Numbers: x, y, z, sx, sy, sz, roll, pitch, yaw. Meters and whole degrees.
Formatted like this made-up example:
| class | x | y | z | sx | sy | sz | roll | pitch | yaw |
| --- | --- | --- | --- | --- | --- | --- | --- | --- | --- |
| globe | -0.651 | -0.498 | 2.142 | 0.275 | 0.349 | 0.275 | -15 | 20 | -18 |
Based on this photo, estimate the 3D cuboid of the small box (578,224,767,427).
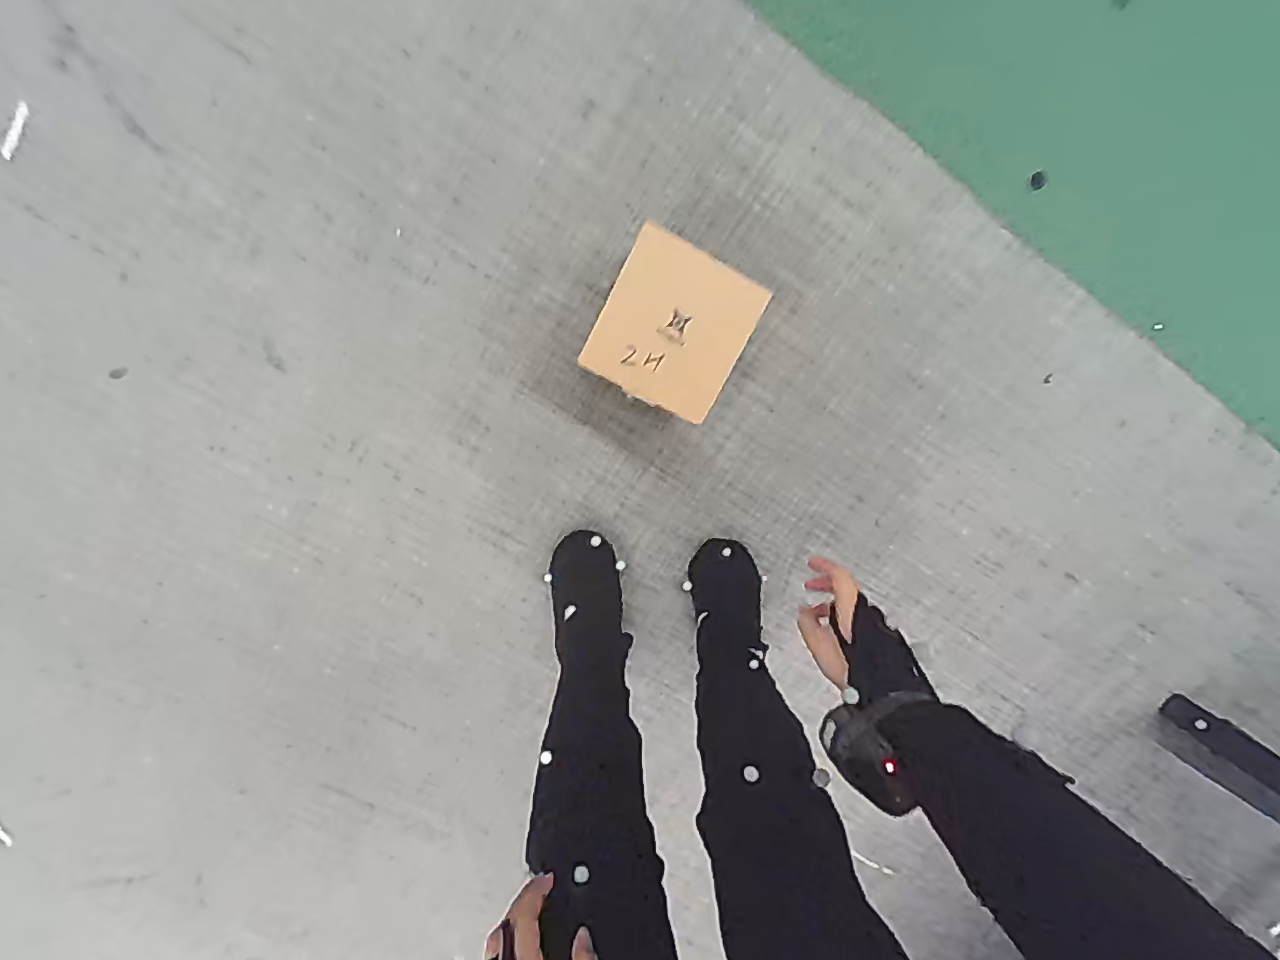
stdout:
| class | x | y | z | sx | sy | sz | roll | pitch | yaw |
| --- | --- | --- | --- | --- | --- | --- | --- | --- | --- |
| small box | 0.032 | -0.192 | 0.701 | 0.168 | 0.176 | 0.179 | 27 | 101 | -9 |
